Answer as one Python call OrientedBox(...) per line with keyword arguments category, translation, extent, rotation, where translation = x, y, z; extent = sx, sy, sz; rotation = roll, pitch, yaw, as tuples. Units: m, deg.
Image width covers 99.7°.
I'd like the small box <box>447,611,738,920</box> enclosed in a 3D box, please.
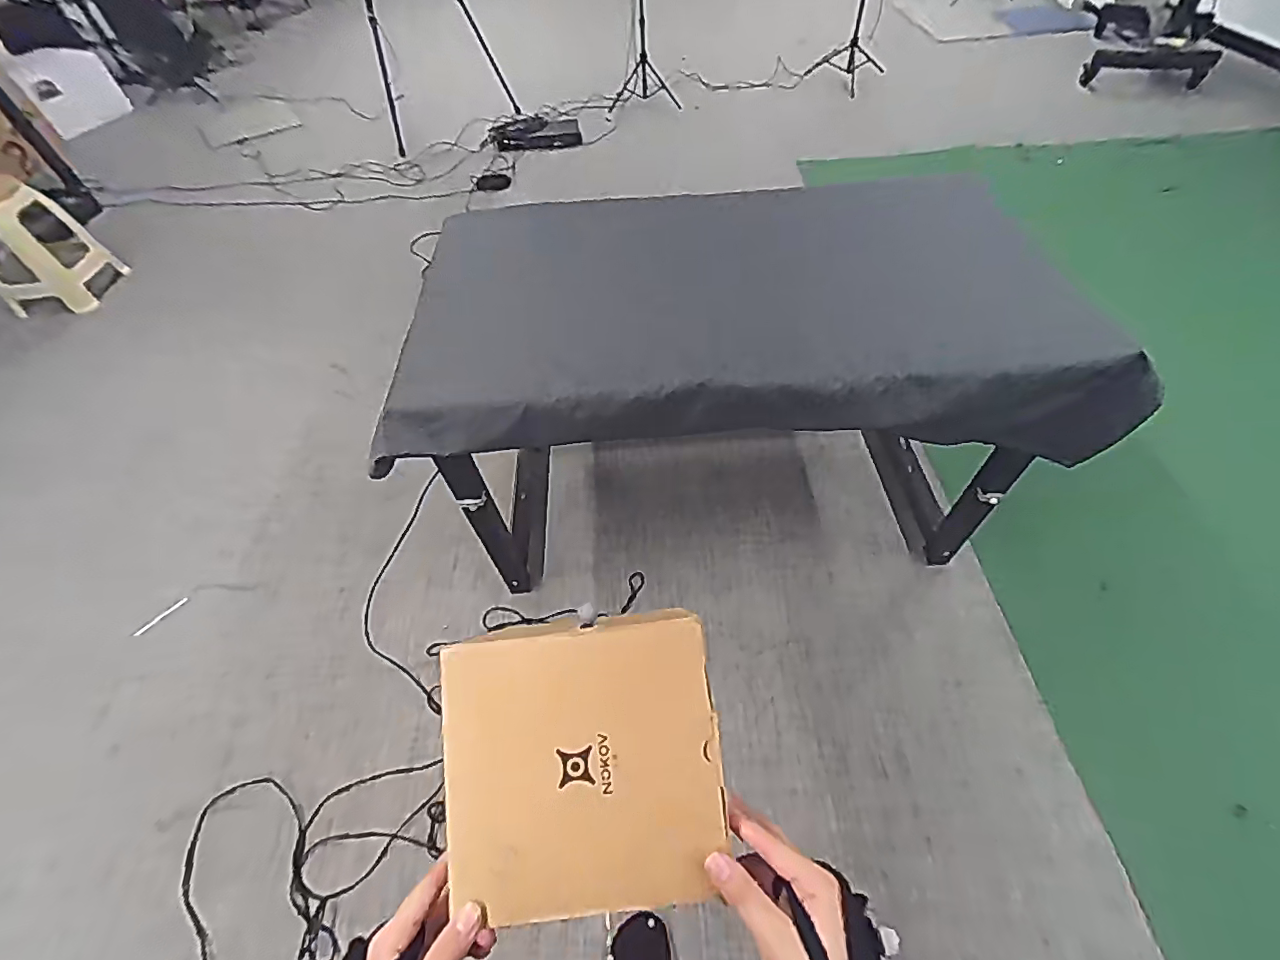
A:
OrientedBox(category="small box", translation=(-0.034, 0.194, 0.419), extent=(0.179, 0.176, 0.168), rotation=(-5, 78, -2))
